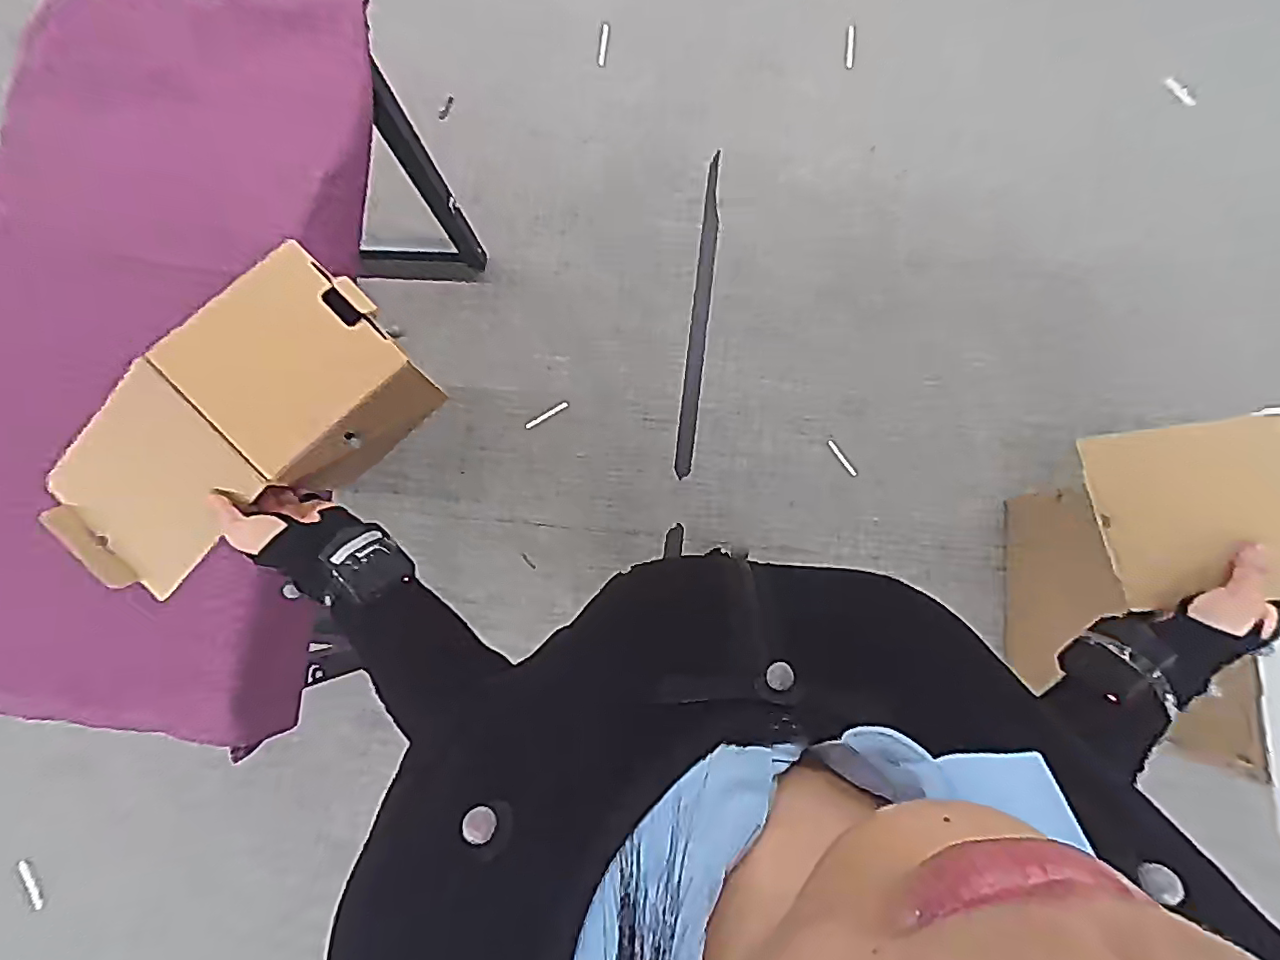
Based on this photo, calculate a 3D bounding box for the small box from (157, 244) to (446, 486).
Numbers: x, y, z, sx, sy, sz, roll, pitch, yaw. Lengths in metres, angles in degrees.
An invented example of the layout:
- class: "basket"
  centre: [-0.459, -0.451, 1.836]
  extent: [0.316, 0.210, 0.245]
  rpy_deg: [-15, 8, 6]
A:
- class: "small box"
  centre: [-0.345, -0.108, 0.596]
  extent: [0.179, 0.176, 0.168]
  rpy_deg: [-44, 91, -8]
